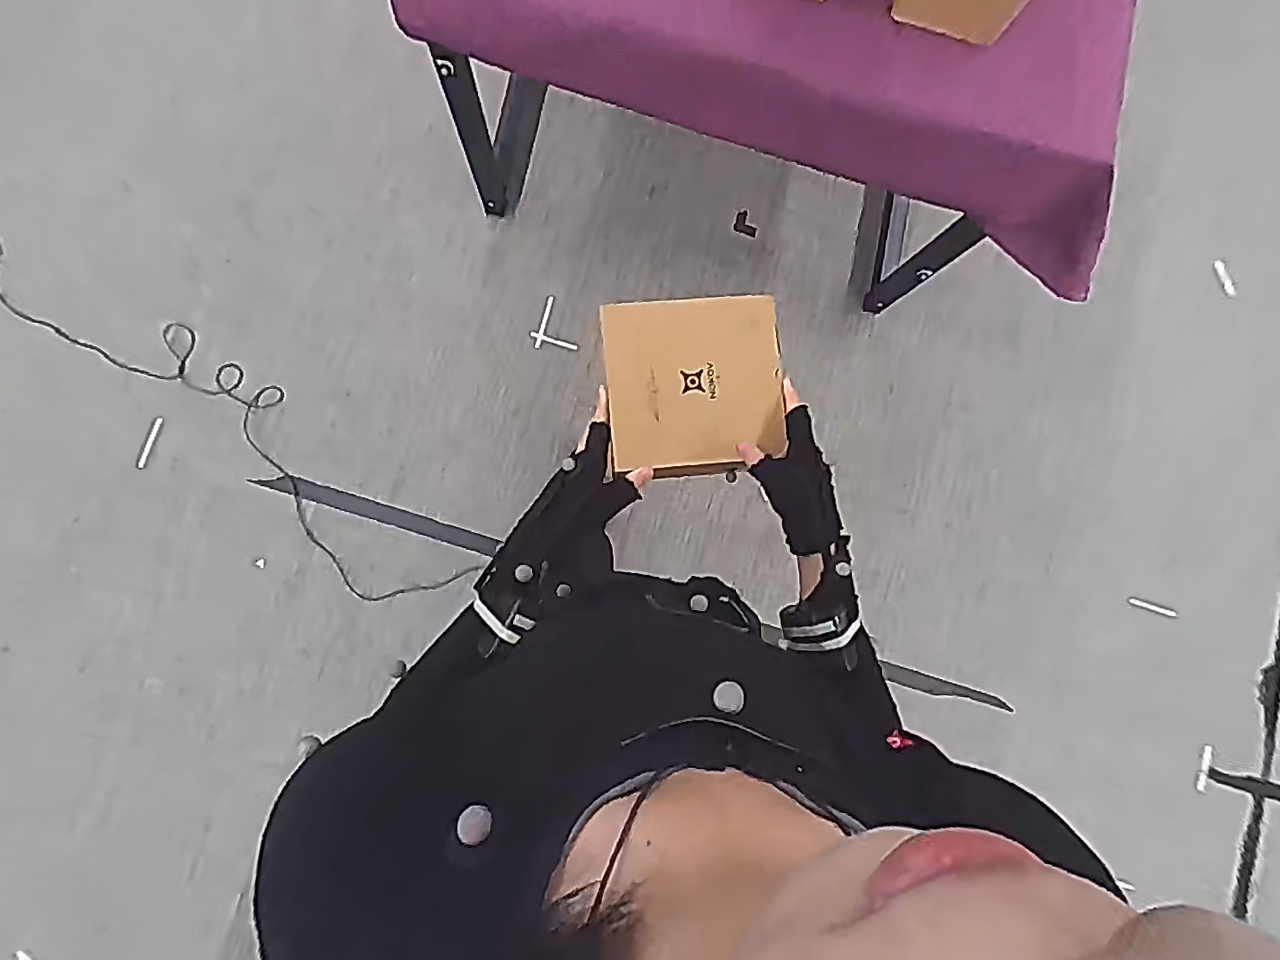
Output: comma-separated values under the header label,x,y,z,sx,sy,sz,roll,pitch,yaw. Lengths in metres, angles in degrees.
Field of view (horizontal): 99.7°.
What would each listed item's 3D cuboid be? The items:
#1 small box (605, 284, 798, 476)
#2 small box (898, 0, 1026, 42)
label,x,y,z,sx,sy,sz,roll,pitch,yaw
small box,0.054,-0.099,0.597,0.179,0.176,0.168,-5,85,-3
small box,0.518,-0.812,0.810,0.179,0.176,0.168,13,85,-3
